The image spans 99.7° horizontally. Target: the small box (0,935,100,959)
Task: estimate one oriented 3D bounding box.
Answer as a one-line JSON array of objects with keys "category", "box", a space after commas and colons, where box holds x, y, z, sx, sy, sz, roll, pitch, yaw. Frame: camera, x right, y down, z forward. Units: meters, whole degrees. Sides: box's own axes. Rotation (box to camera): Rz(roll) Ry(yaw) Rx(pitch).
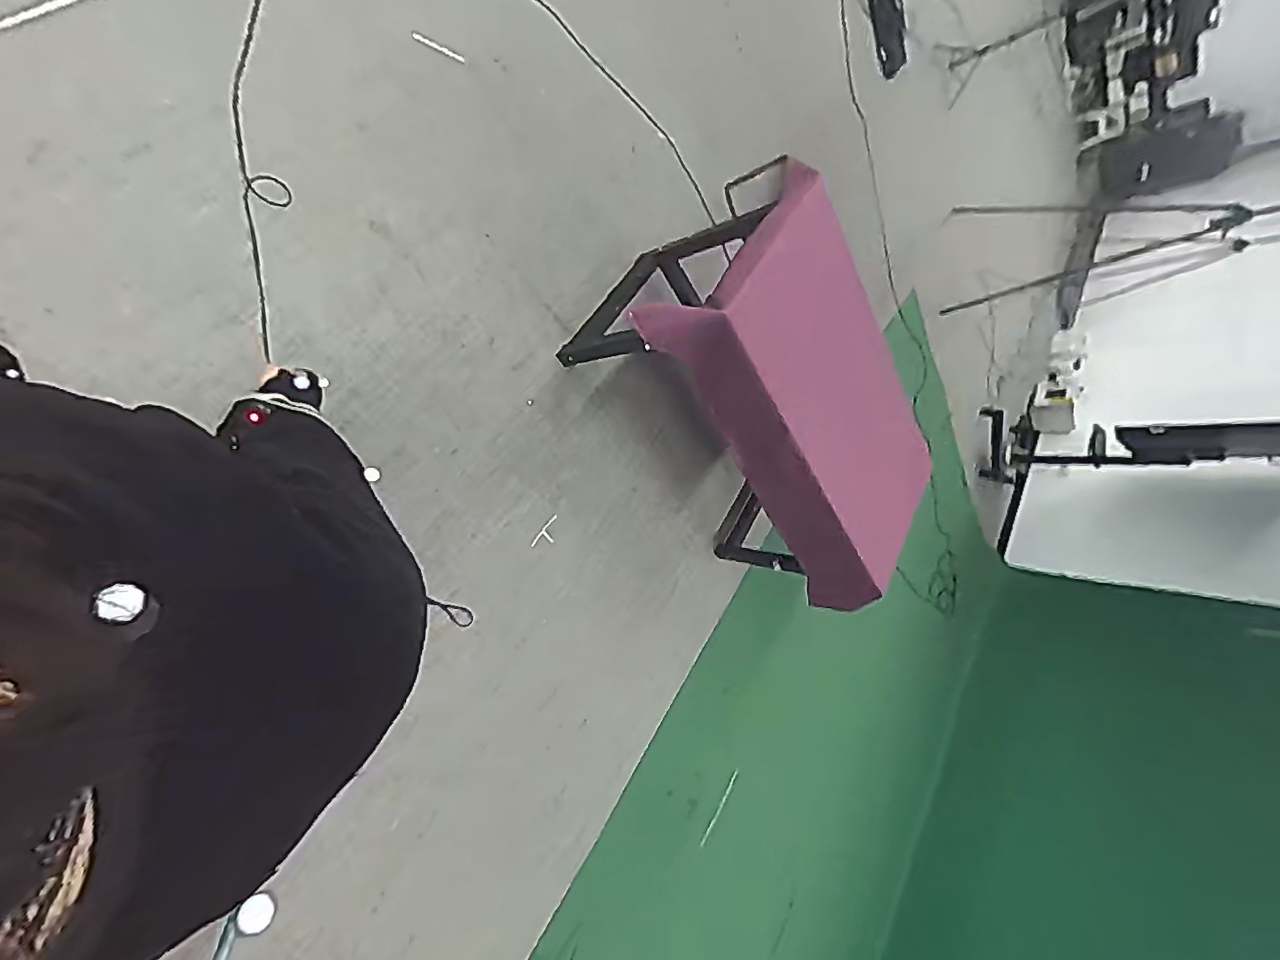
[{"category": "small box", "box": [-0.926, 0.796, 0.765, 0.179, 0.176, 0.168, 51, 61, -34]}]
